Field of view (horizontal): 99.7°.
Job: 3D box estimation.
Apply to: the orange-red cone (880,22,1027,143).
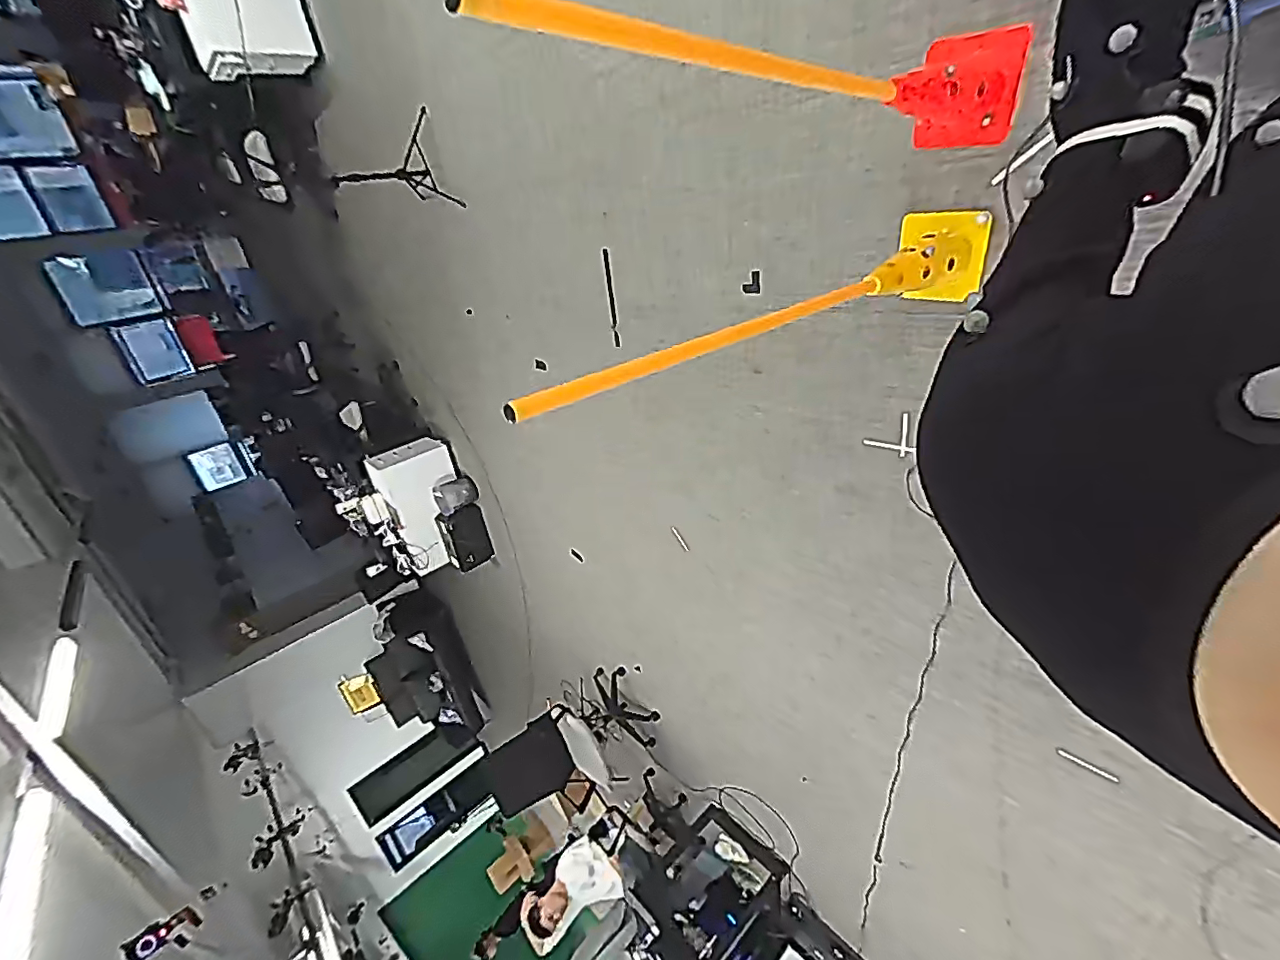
[{"bbox_3d":[0.560,-0.765,1.045,0.198,0.360,0.199,27,132,38],"label":"orange-red cone"}]
